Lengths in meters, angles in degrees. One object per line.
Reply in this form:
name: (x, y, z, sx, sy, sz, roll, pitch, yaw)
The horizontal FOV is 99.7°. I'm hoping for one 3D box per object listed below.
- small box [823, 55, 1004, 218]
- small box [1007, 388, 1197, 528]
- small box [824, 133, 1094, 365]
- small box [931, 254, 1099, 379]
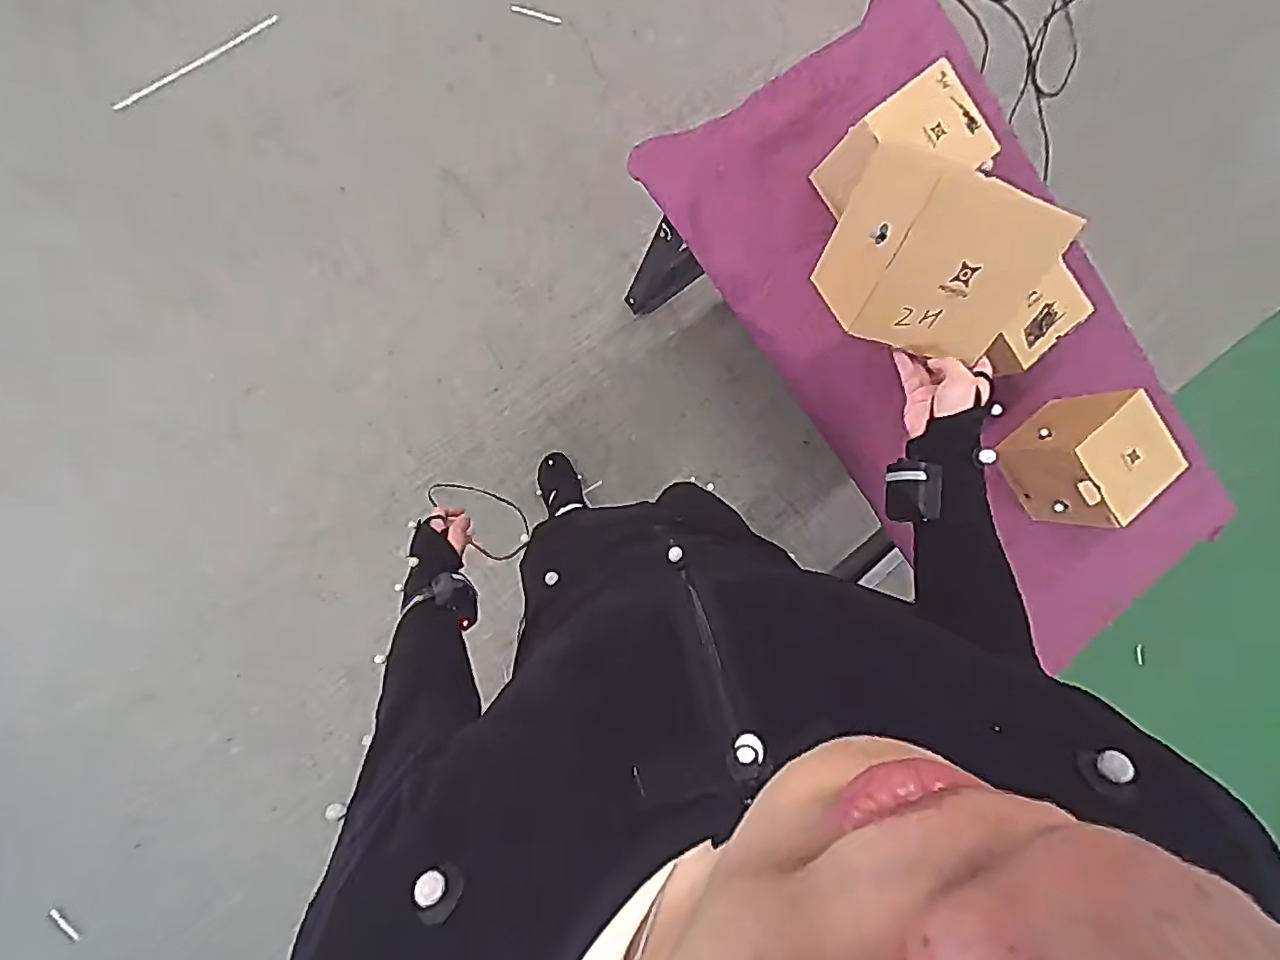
small box: (0.429, -0.521, 0.885, 0.179, 0.176, 0.168, -39, 97, -6)
small box: (0.796, -0.036, 0.956, 0.179, 0.176, 0.168, -38, 97, -8)
small box: (0.336, -0.265, 0.615, 0.168, 0.176, 0.179, 14, 130, -11)
small box: (0.603, -0.289, 0.919, 0.168, 0.176, 0.179, -39, 96, -7)
